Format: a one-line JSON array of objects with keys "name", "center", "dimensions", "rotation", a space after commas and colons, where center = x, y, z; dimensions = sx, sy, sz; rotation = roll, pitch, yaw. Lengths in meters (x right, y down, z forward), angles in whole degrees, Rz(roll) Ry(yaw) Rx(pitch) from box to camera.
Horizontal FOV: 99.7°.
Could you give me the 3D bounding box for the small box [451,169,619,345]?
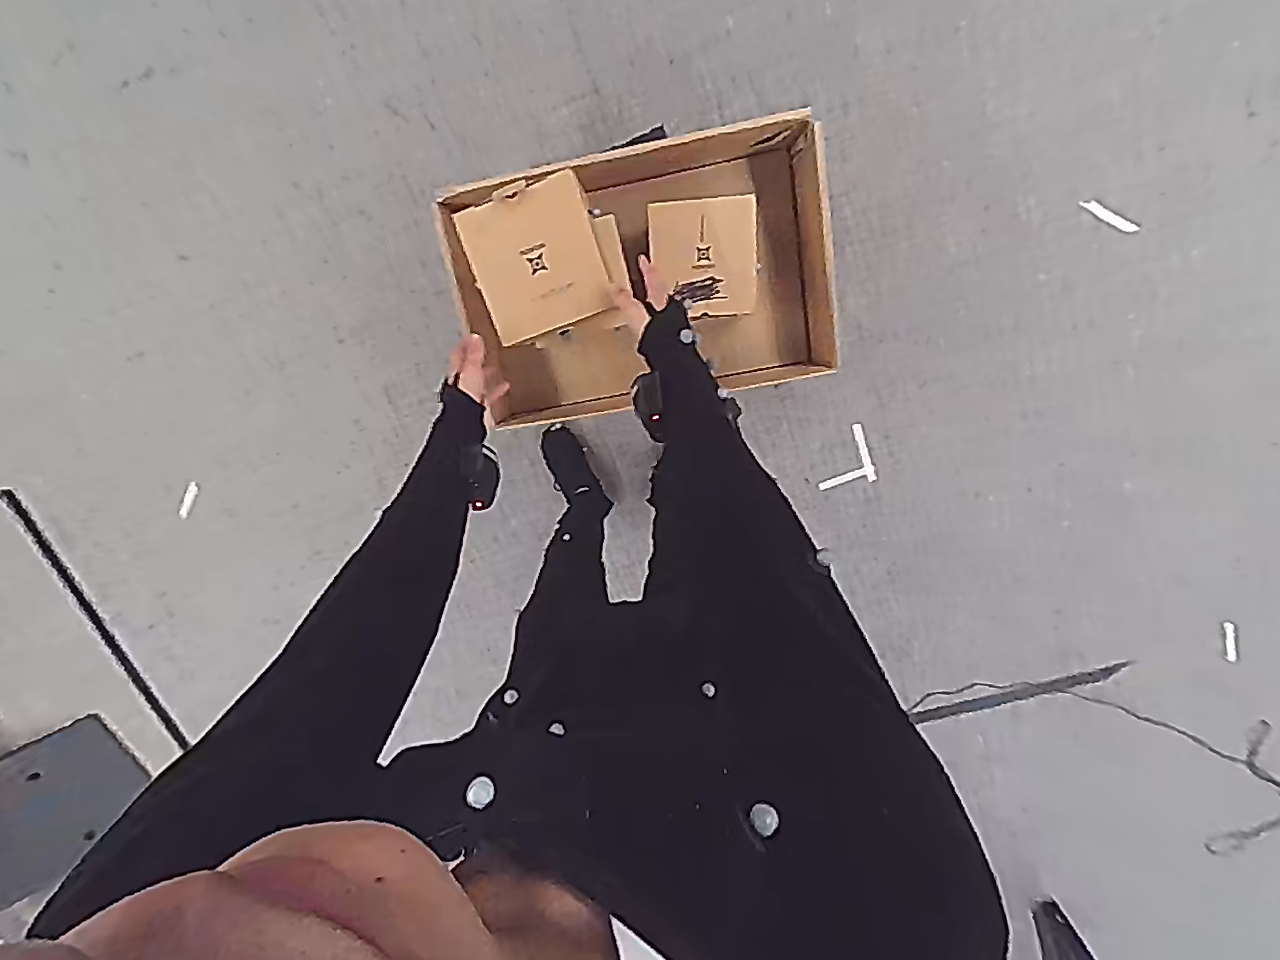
[{"name": "small box", "center": [-0.135, -0.302, 0.771], "dimensions": [0.168, 0.176, 0.179], "rotation": [-18, 104, 7]}]
